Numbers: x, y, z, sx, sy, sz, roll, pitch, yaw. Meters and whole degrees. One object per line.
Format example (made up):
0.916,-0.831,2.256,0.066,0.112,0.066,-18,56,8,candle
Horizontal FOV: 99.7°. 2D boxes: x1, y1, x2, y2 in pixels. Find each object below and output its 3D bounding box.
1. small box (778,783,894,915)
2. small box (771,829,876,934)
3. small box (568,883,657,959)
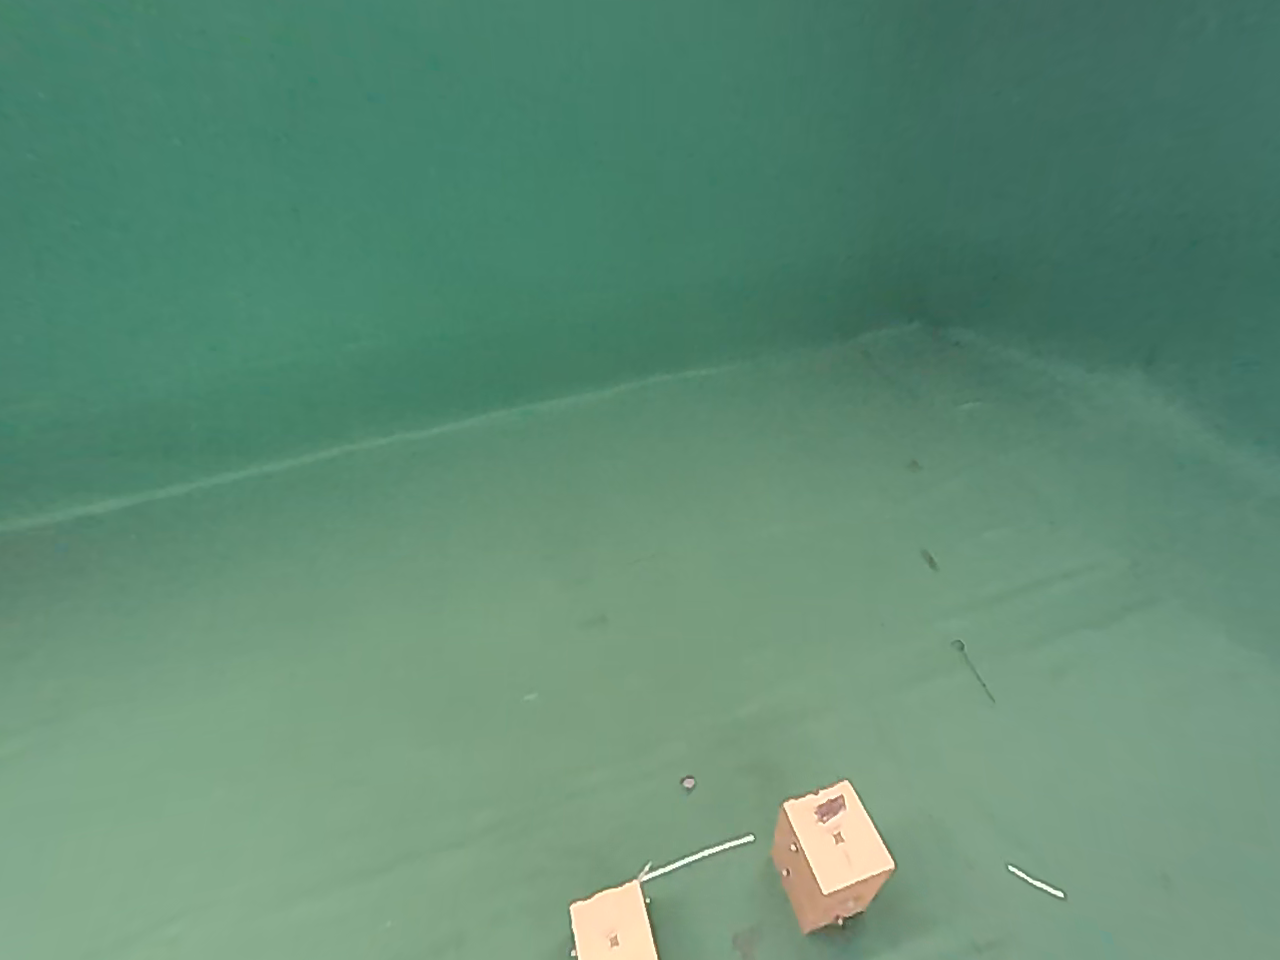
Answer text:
0.418,0.812,1.192,0.168,0.176,0.179,-13,41,-10,small box
0.427,0.939,1.296,0.168,0.176,0.179,-13,40,-10,small box
-0.055,1.054,1.212,0.168,0.176,0.179,-14,40,-10,small box
